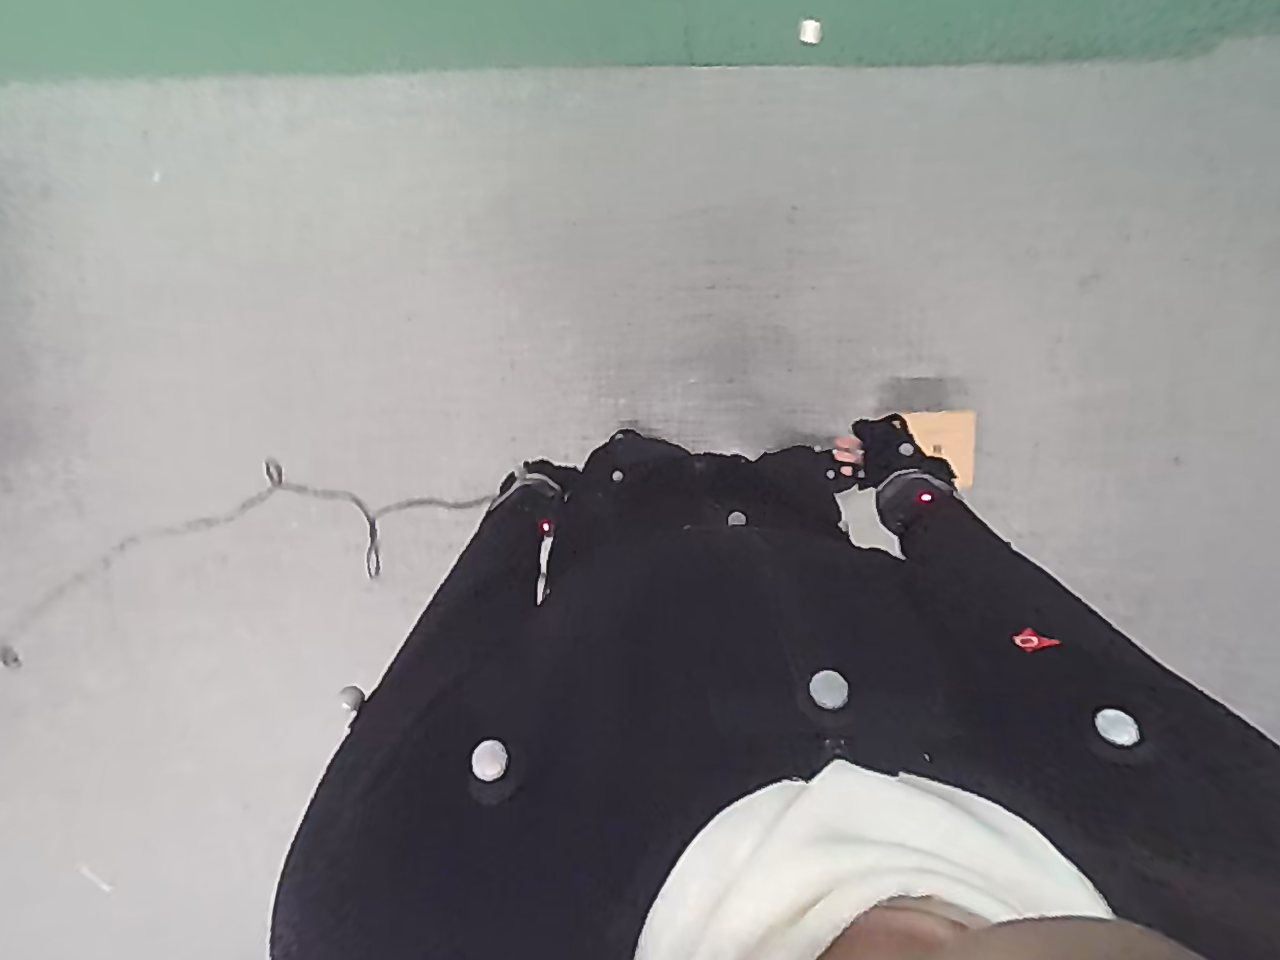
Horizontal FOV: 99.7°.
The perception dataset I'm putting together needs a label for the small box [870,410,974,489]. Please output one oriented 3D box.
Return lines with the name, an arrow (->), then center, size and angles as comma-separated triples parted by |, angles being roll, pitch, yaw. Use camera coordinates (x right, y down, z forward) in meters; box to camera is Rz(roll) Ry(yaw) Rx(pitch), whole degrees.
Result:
small box -> 0.670, -0.077, 1.302 | 0.168, 0.176, 0.179 | -2, 97, 1
